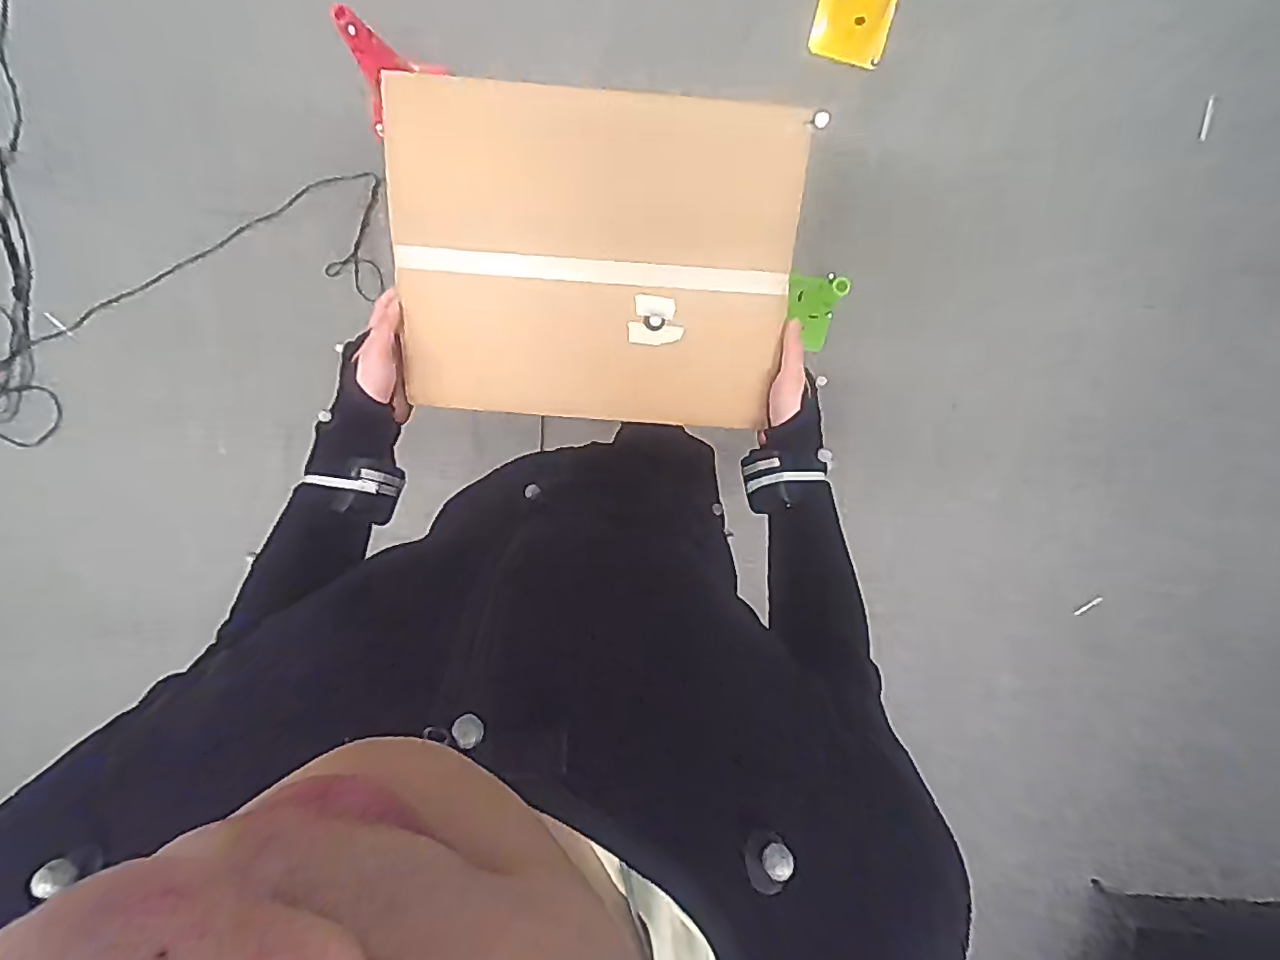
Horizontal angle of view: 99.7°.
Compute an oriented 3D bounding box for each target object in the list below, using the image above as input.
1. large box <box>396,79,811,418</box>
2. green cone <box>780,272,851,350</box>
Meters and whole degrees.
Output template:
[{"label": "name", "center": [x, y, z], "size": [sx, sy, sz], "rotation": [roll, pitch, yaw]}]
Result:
[{"label": "large box", "center": [-0.044, -0.272, 0.702], "size": [0.408, 0.320, 0.320], "rotation": [3, 111, -2]}, {"label": "green cone", "center": [0.447, -0.460, 1.373], "size": [0.200, 0.368, 0.202], "rotation": [10, 97, -3]}]
